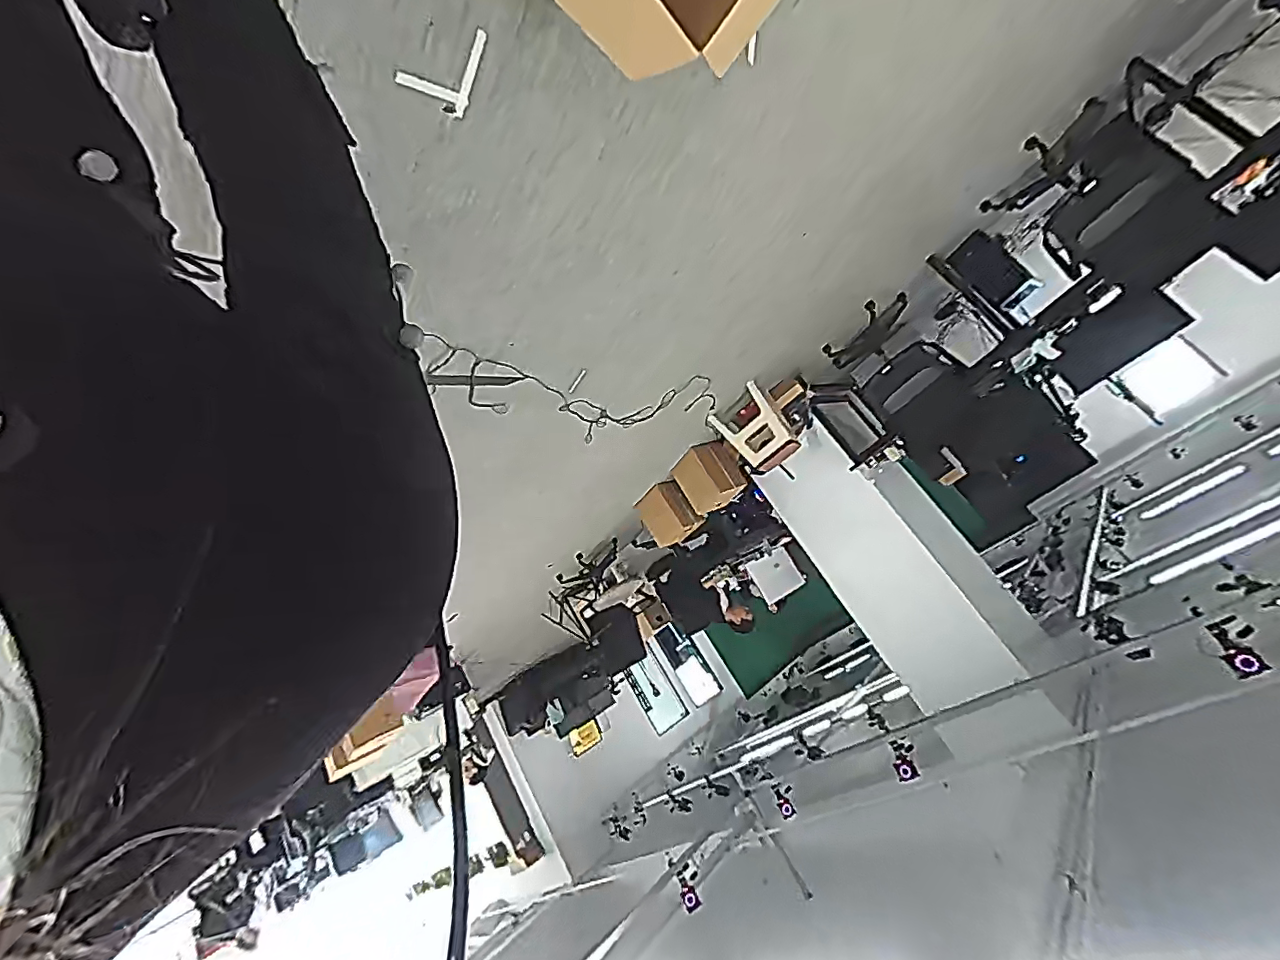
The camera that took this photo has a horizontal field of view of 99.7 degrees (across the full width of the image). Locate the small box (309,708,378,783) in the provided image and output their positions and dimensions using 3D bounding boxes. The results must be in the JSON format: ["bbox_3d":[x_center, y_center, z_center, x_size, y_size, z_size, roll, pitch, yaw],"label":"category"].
[{"bbox_3d":[-1.109,0.986,2.014,0.179,0.176,0.168,-14,154,-45],"label":"small box"}]
